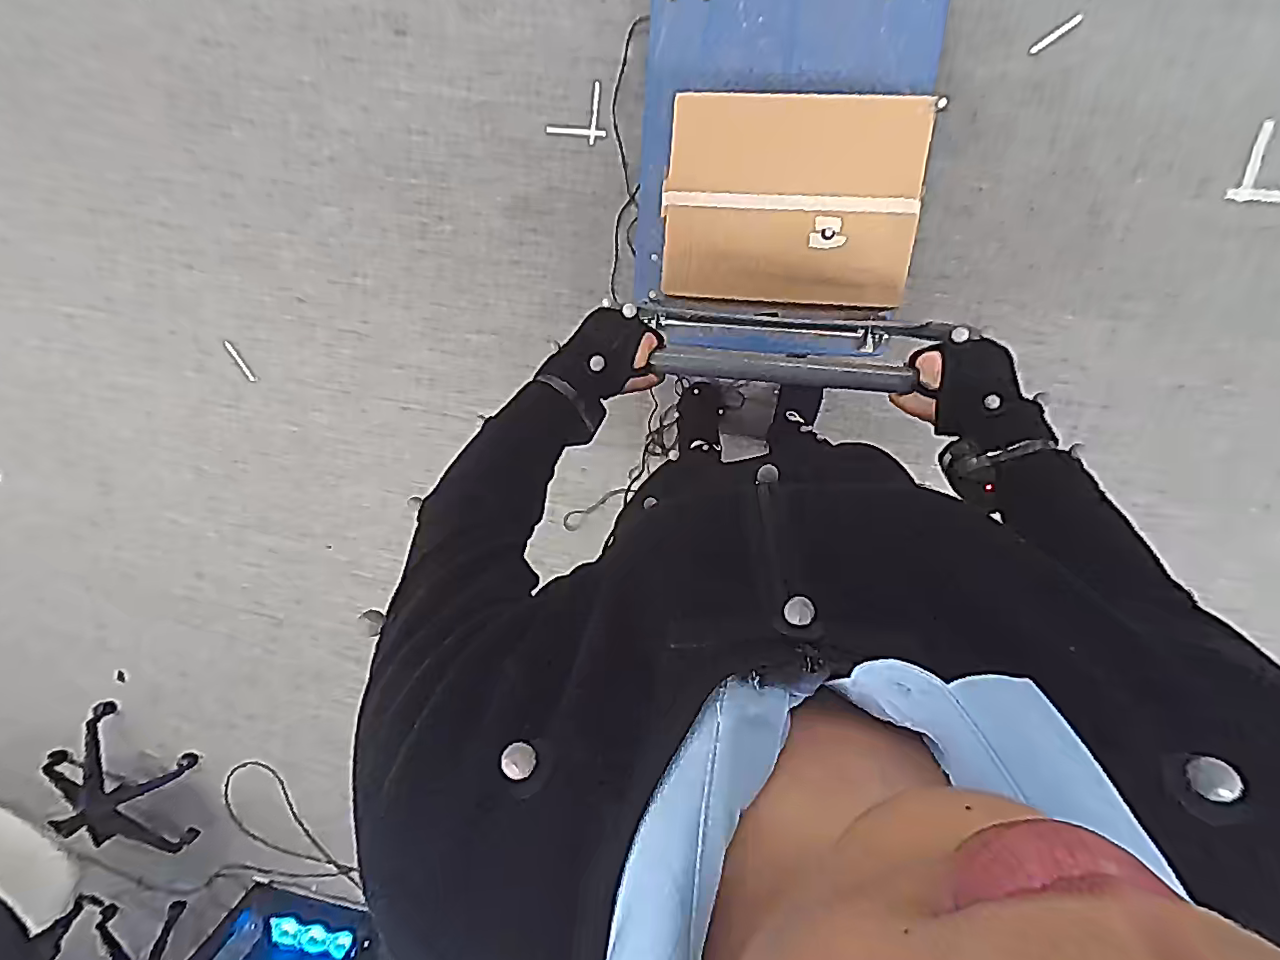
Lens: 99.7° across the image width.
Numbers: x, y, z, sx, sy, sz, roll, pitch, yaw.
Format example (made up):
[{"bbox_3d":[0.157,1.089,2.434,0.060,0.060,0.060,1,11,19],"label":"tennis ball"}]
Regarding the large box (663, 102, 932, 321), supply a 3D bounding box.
[{"bbox_3d":[0.261,-0.477,1.026,0.408,0.320,0.320,5,105,7],"label":"large box"}]
